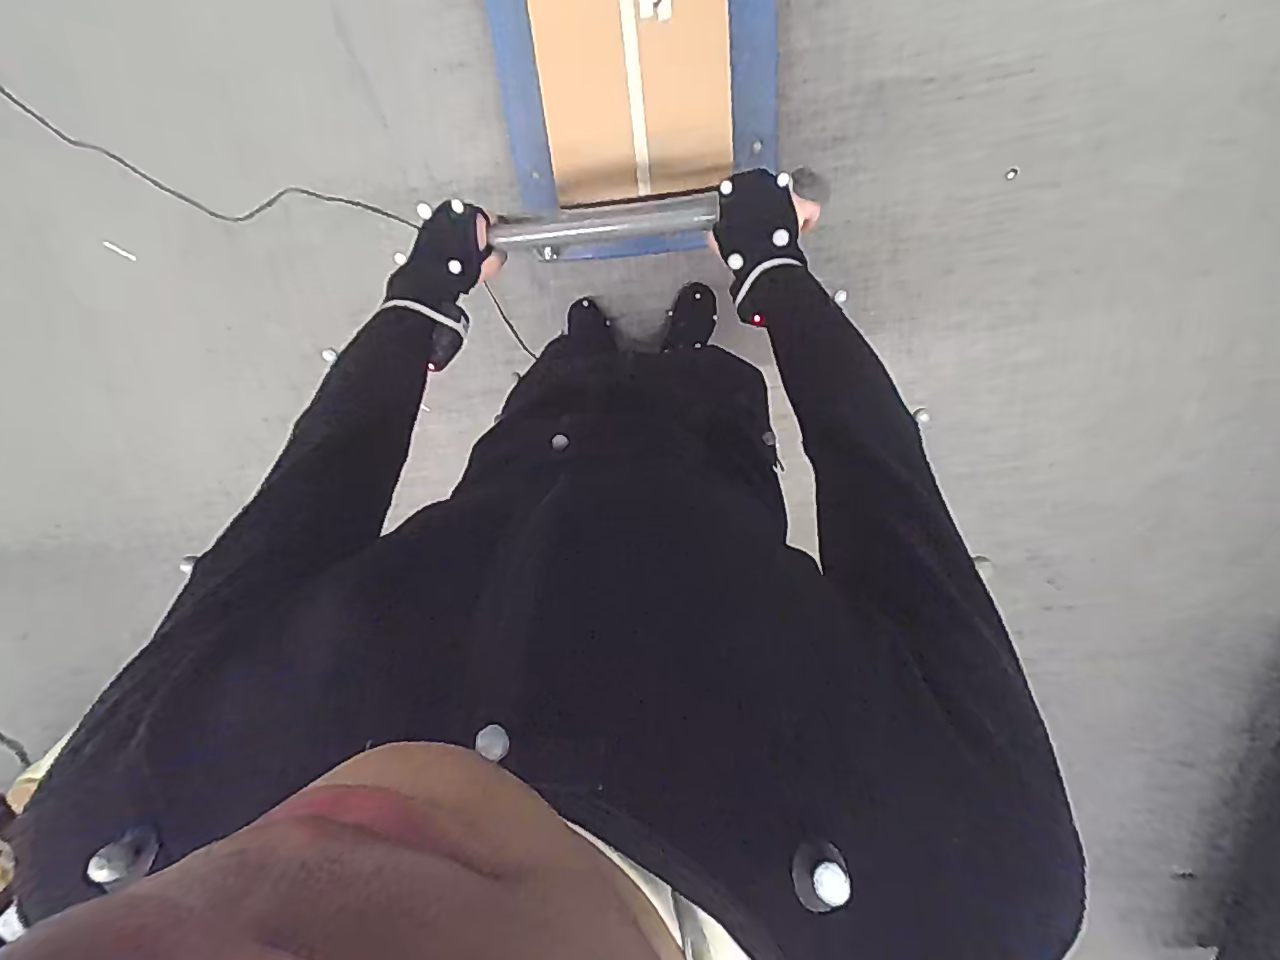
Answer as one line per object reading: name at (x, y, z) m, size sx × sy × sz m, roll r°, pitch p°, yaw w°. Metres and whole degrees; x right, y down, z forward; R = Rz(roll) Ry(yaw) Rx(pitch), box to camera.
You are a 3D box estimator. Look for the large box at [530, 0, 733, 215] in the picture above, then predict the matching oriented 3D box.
large box at (0.001, -0.744, 1.018) m, size 0.320 × 0.320 × 0.408 m, roll -3°, pitch 114°, yaw 7°
